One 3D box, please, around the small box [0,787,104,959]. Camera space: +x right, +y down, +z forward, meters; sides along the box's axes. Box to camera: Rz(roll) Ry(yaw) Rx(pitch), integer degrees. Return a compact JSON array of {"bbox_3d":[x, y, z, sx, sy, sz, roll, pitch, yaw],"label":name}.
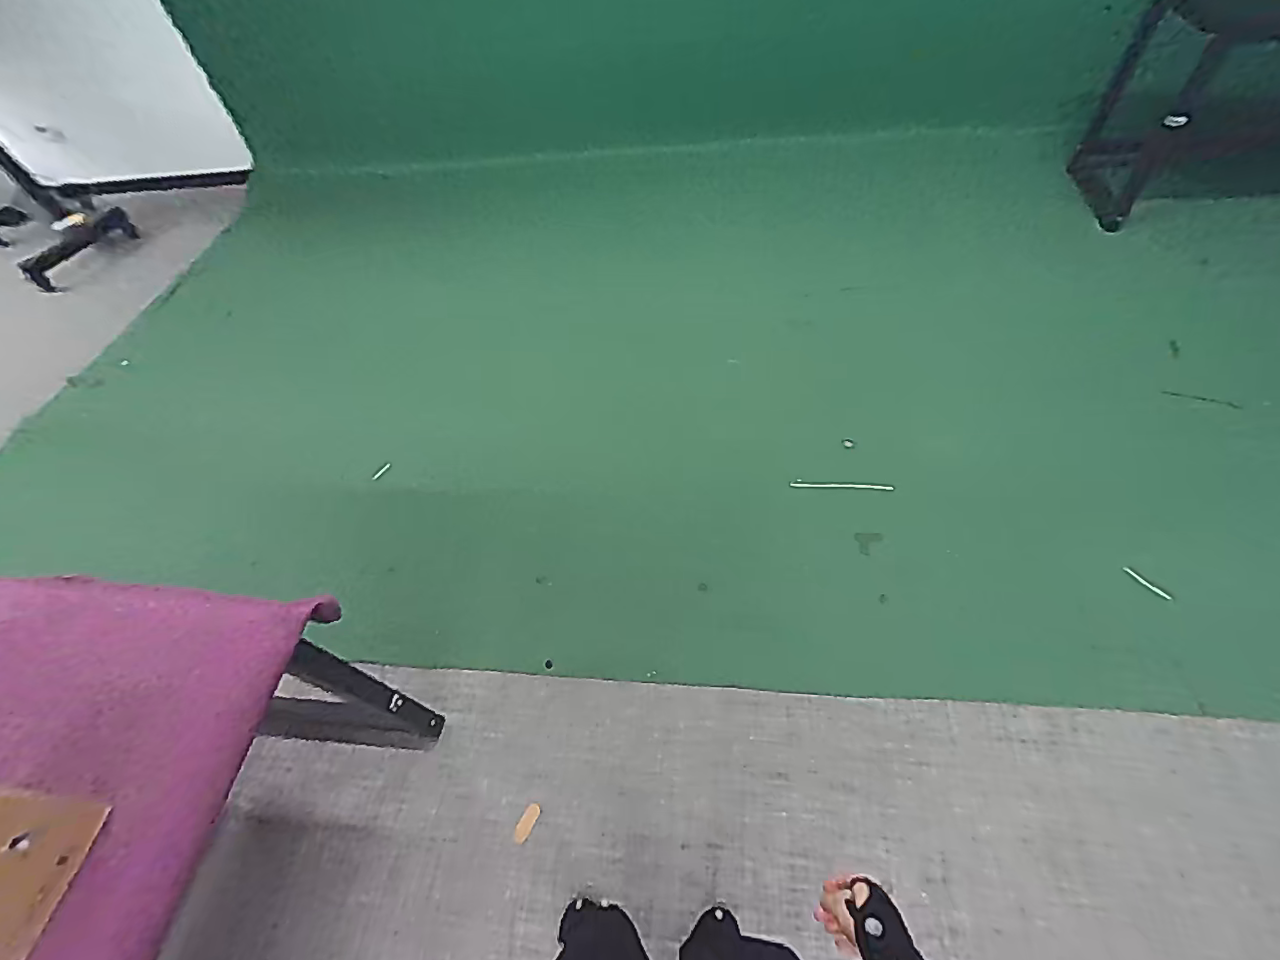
[{"bbox_3d":[-0.791,0.443,0.611,0.179,0.176,0.168,1,54,10],"label":"small box"}]
